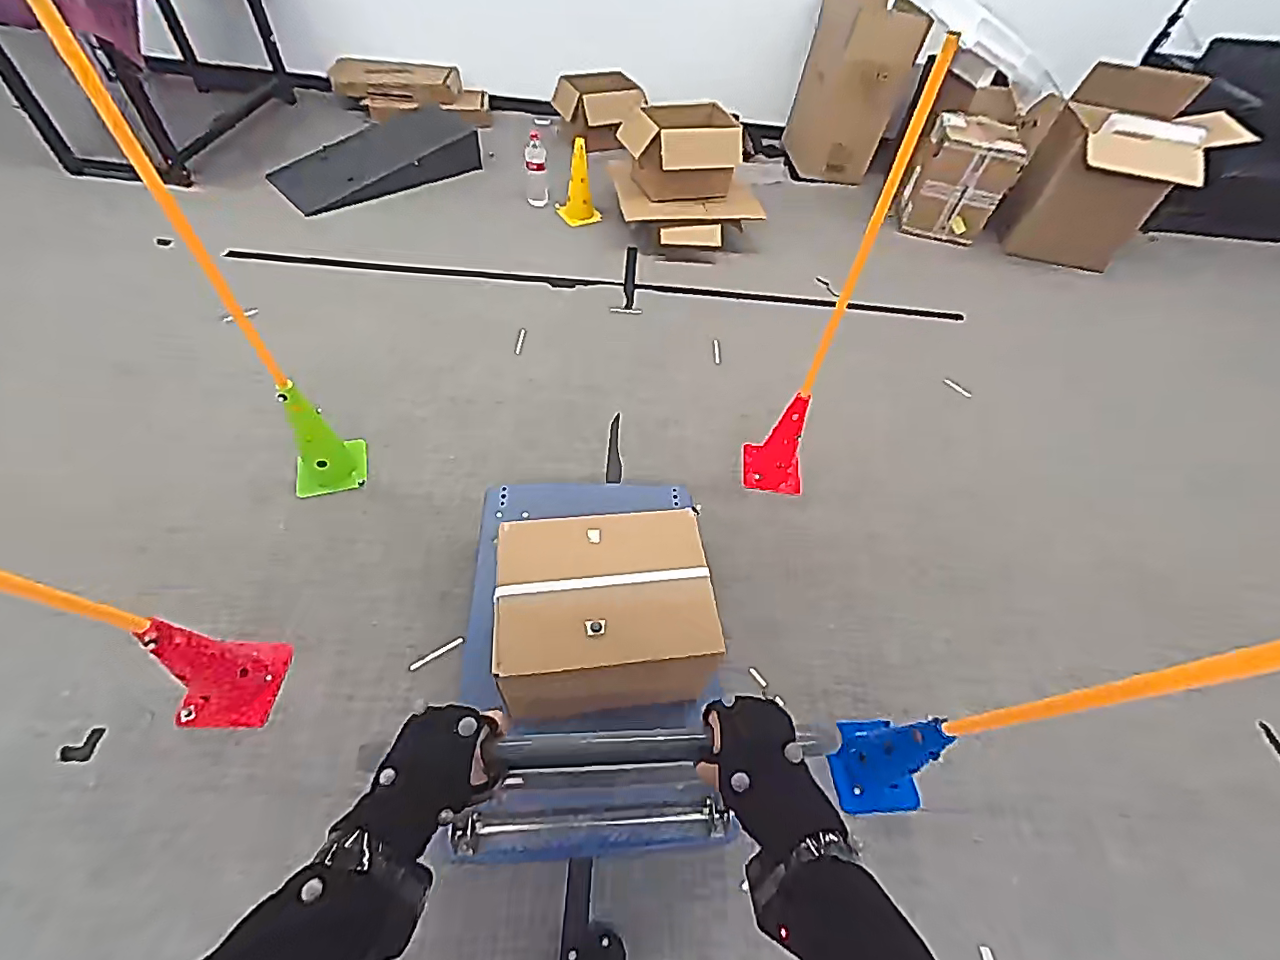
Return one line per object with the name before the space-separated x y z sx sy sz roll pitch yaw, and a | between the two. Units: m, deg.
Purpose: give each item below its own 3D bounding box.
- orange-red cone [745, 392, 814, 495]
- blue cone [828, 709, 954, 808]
orange-red cone | 0.479 -0.142 1.727 0.199 0.360 0.198 10 53 0
blue cone | 0.584 0.590 1.195 0.193 0.380 0.192 1 51 -6
